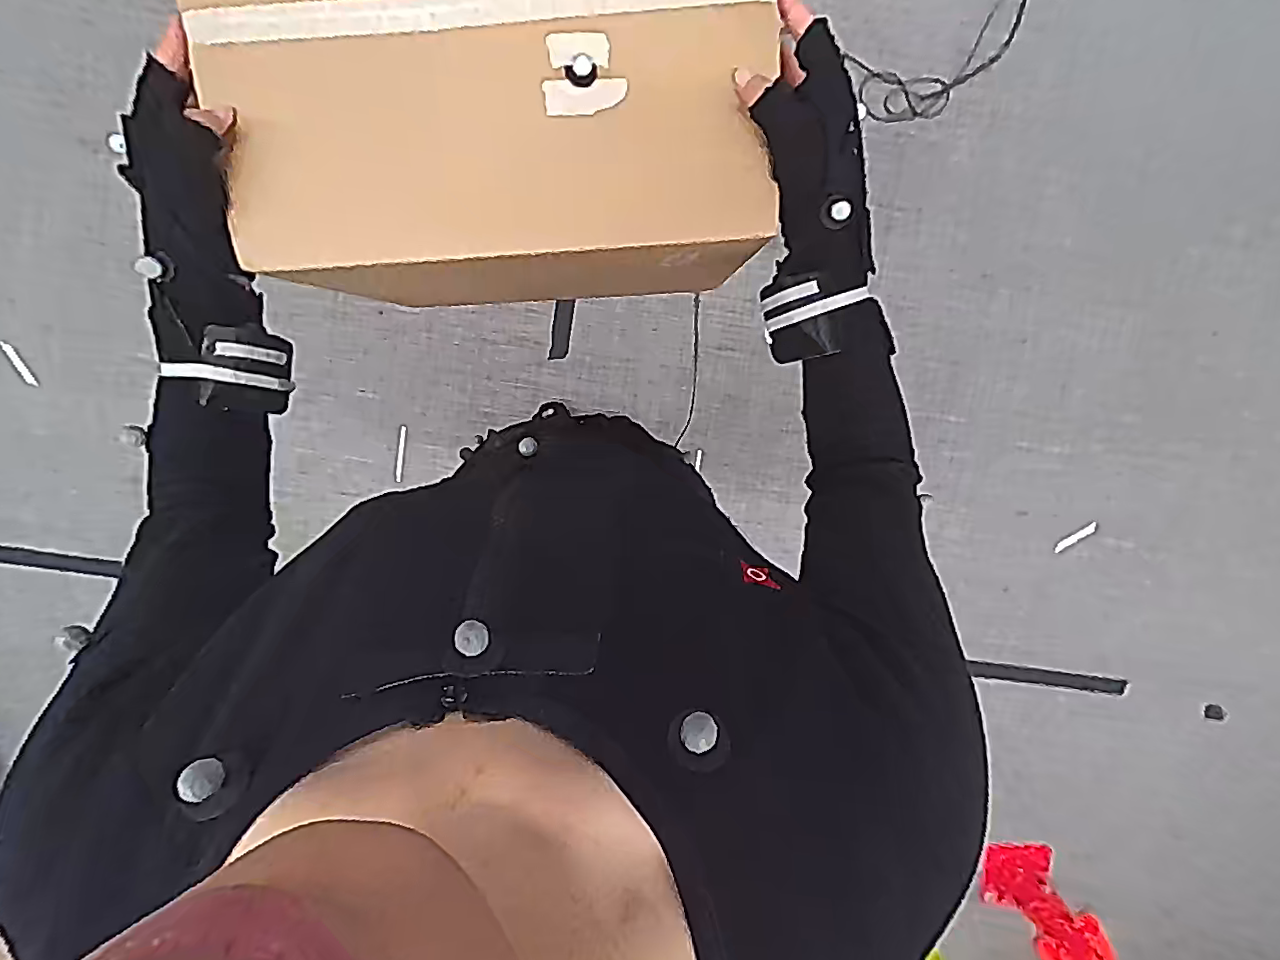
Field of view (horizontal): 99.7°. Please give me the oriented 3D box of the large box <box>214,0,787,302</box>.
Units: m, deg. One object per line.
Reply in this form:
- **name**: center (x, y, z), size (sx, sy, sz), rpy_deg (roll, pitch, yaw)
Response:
- **large box**: center (-0.101, -0.360, 0.522), size (0.408, 0.320, 0.320), rpy_deg (-3, 103, -1)
